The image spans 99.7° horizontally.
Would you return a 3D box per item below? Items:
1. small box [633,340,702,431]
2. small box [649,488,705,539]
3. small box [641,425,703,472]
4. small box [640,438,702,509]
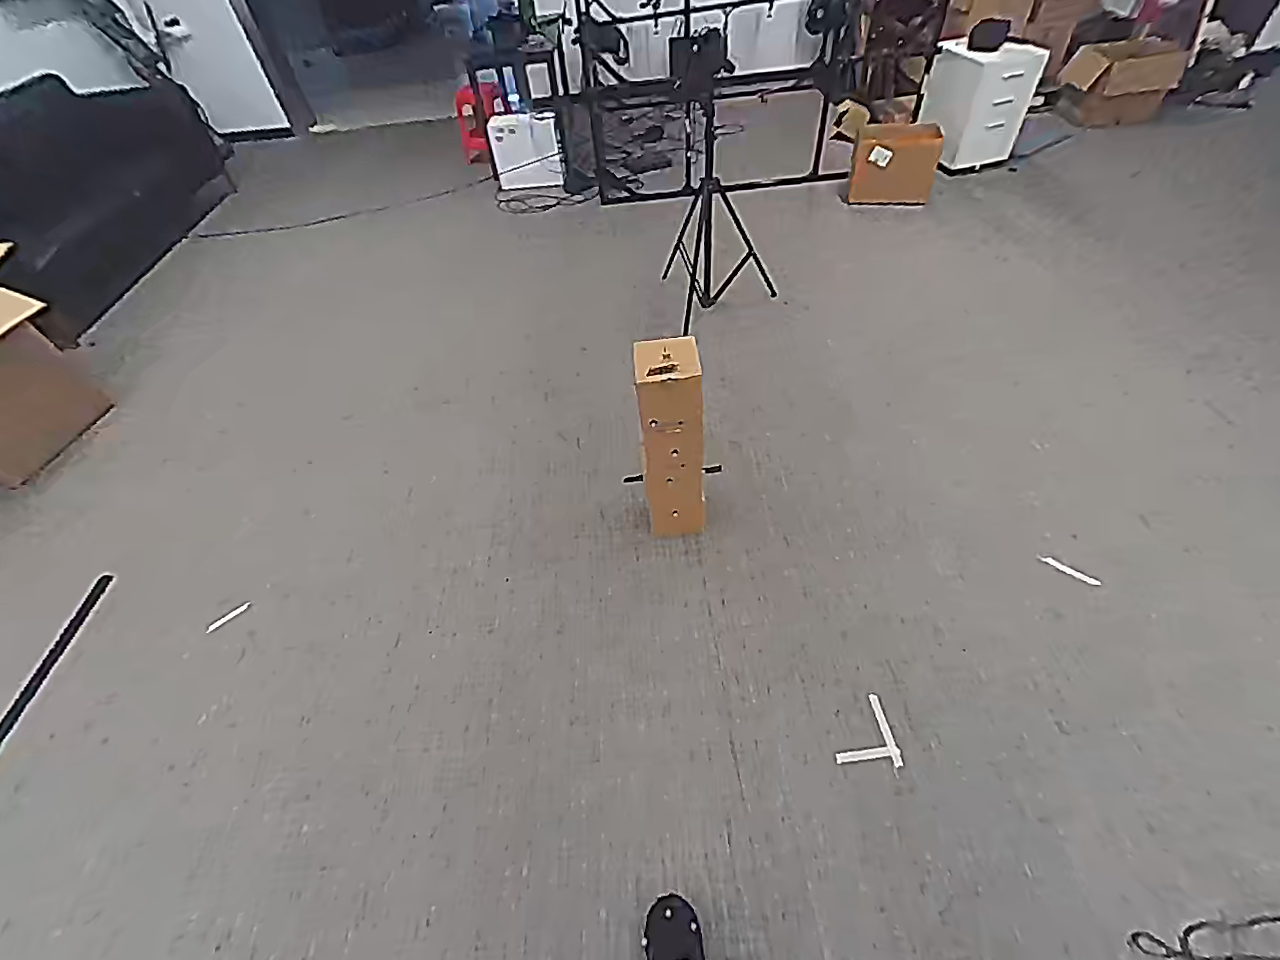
[{"bbox_3d":[0.074,-0.244,1.429,0.168,0.176,0.179,-6,48,2],"label":"small box"},{"bbox_3d":[0.116,0.080,1.798,0.179,0.176,0.168,-6,49,1],"label":"small box"},{"bbox_3d":[0.091,-0.134,1.551,0.168,0.176,0.179,-5,50,2],"label":"small box"},{"bbox_3d":[0.096,-0.025,1.672,0.179,0.176,0.168,-4,50,3],"label":"small box"}]
